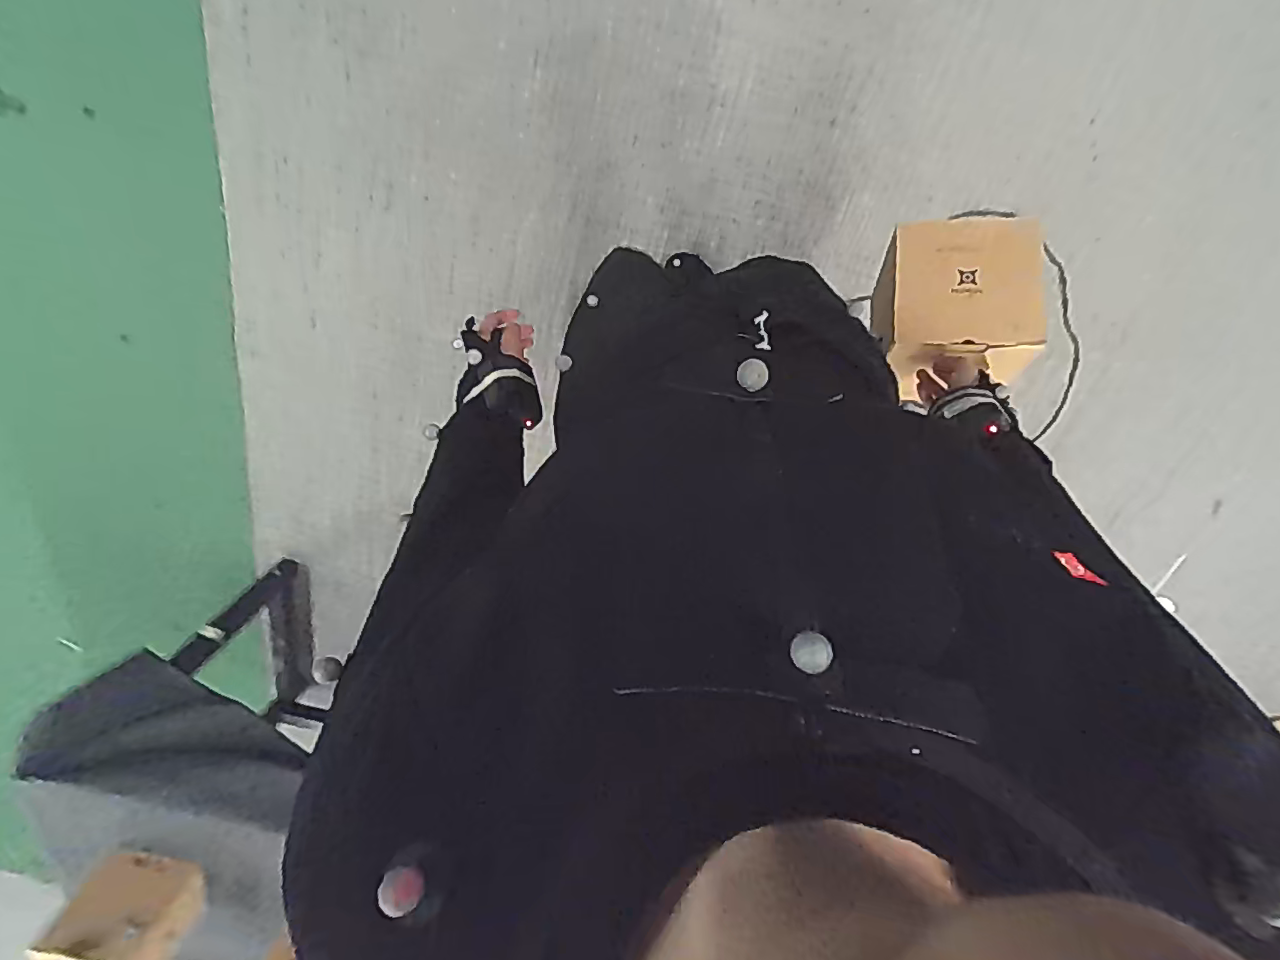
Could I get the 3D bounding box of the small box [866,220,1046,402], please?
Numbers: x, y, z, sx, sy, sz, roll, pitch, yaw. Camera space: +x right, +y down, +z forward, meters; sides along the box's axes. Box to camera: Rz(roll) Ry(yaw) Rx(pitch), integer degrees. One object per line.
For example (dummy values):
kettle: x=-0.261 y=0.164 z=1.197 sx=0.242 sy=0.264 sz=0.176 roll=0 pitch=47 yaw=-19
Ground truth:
small box: x=0.409 y=-0.216 z=0.727 sx=0.168 sy=0.176 sz=0.179 roll=4 pitch=76 yaw=12
